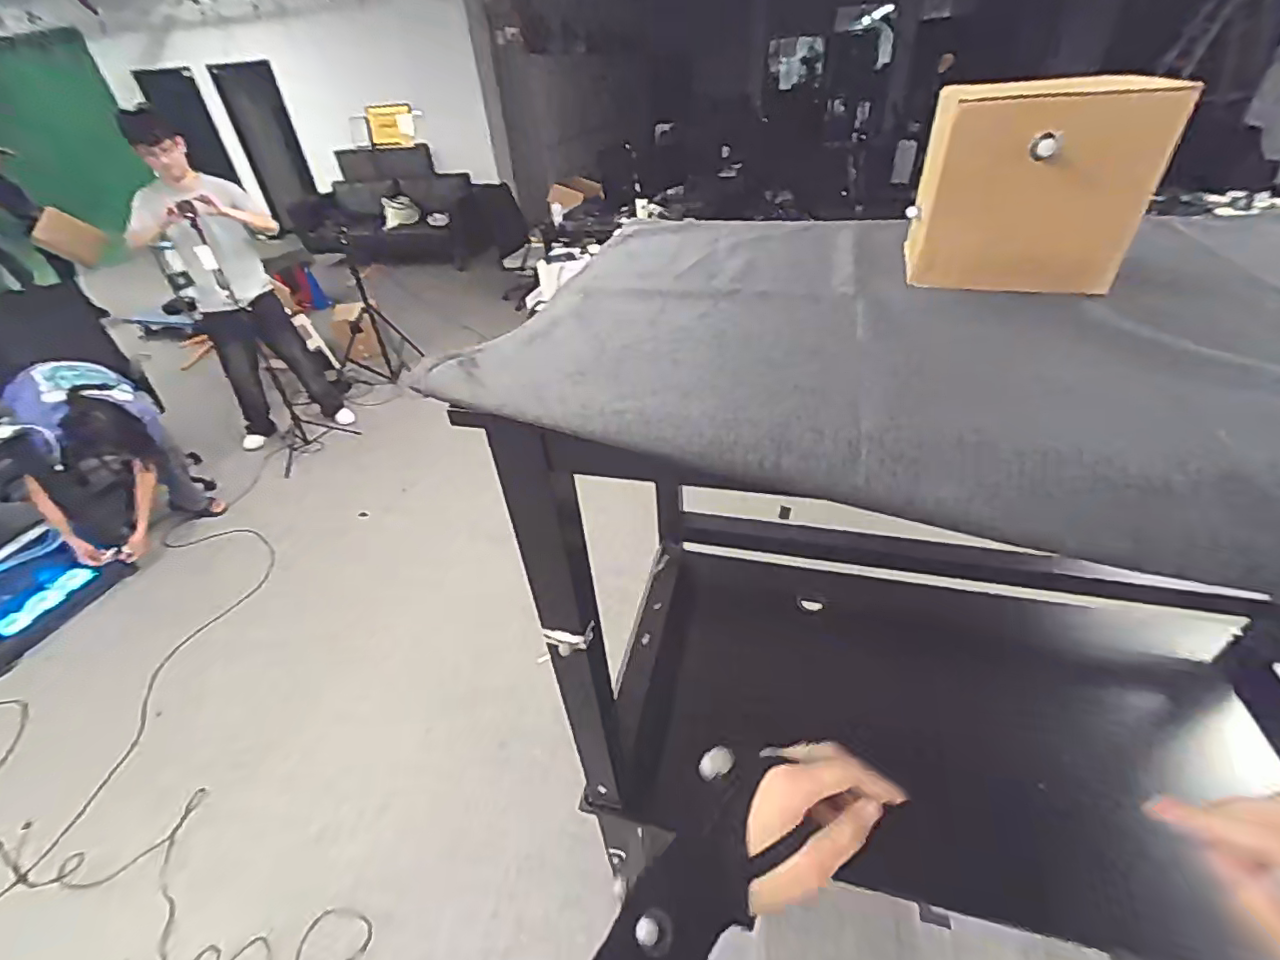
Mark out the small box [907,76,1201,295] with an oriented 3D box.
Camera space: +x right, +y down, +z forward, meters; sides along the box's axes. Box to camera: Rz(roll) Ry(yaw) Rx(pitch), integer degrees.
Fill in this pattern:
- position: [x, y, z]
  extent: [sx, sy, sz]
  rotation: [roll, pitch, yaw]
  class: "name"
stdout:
- position: [0.389, -0.299, 0.553]
  extent: [0.179, 0.176, 0.168]
  rotation: [9, 40, 18]
  class: "small box"
